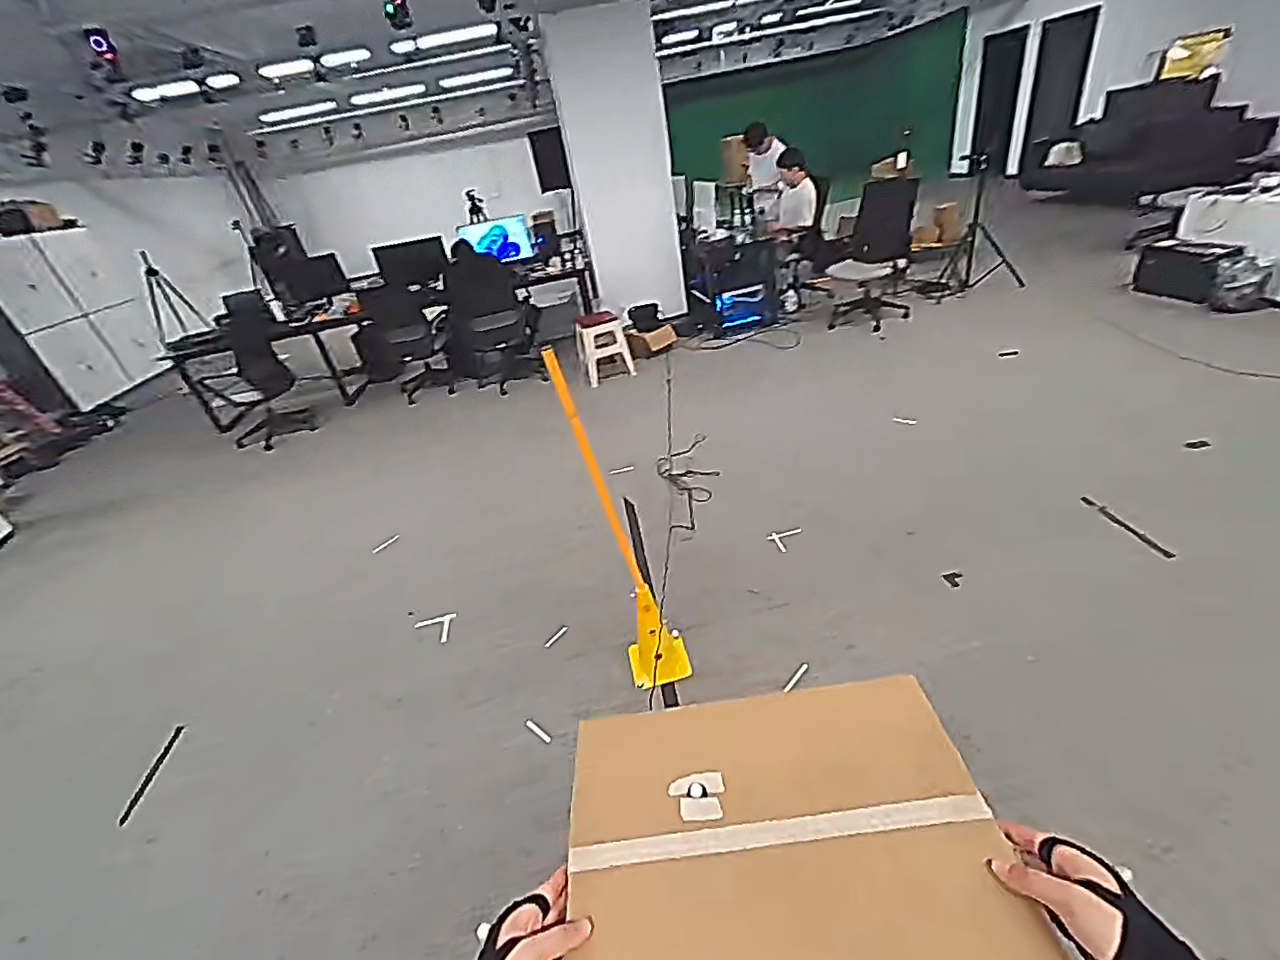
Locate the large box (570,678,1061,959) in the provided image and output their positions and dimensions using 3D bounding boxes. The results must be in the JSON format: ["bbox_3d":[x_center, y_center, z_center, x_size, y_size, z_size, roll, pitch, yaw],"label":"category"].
[{"bbox_3d":[0.159,0.477,0.604,0.408,0.320,0.320,-11,30,4],"label":"large box"}]
